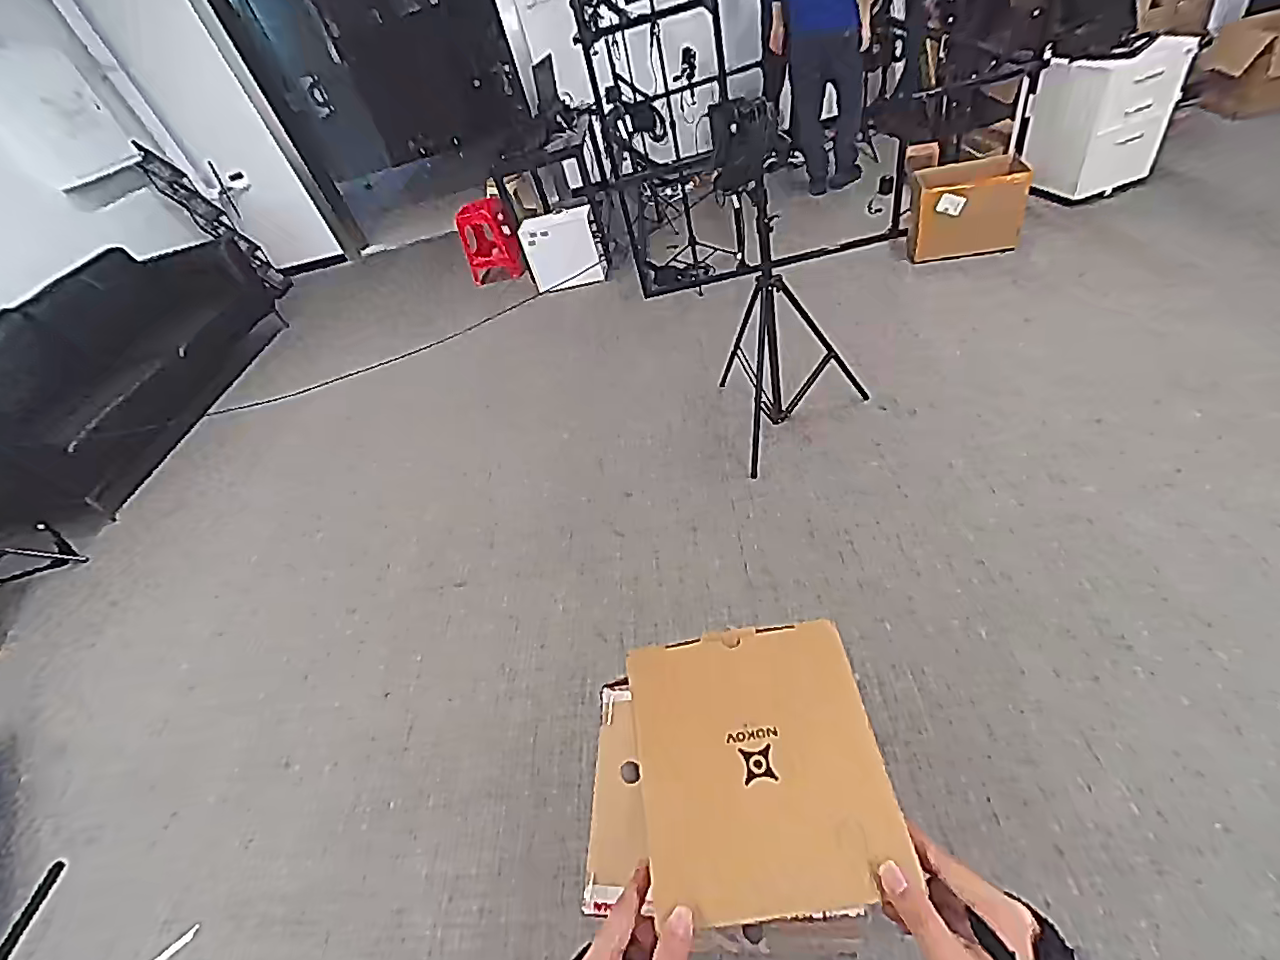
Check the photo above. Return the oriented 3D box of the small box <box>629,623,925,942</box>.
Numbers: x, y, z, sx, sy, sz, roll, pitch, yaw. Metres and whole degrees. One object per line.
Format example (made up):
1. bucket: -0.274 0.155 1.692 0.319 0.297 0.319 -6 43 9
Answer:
1. small box: 0.092 0.239 0.435 0.168 0.176 0.179 -10 53 1
